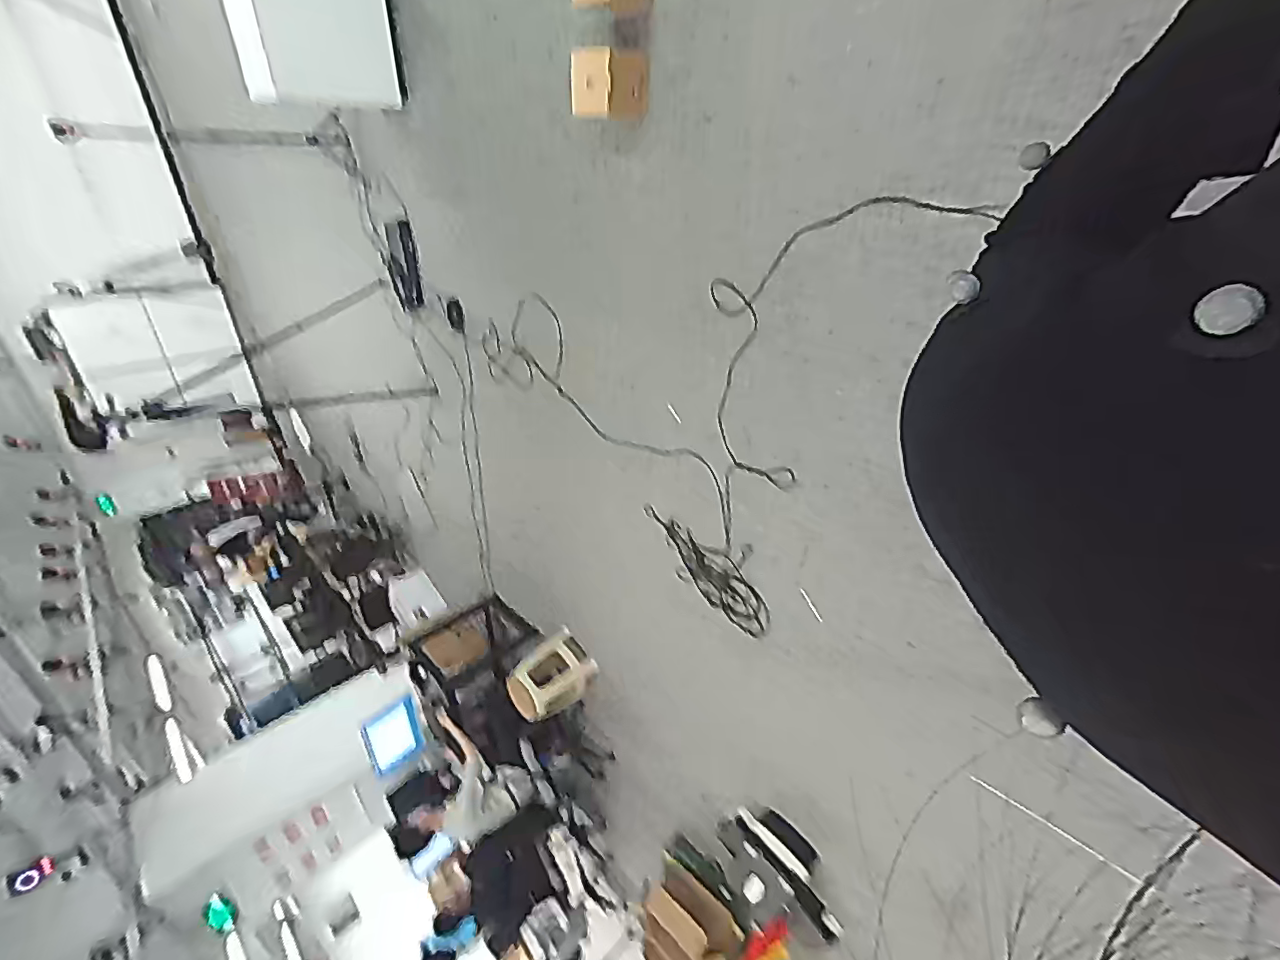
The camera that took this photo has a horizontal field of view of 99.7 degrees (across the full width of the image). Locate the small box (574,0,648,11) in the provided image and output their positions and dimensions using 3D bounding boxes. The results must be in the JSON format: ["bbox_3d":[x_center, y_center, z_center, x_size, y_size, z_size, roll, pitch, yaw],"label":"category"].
[{"bbox_3d":[-0.074,-1.474,1.549,0.179,0.176,0.168,29,130,37],"label":"small box"}]

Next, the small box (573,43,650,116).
[{"bbox_3d":[-0.093,-1.249,1.695,0.179,0.176,0.168,29,130,35],"label":"small box"}]
